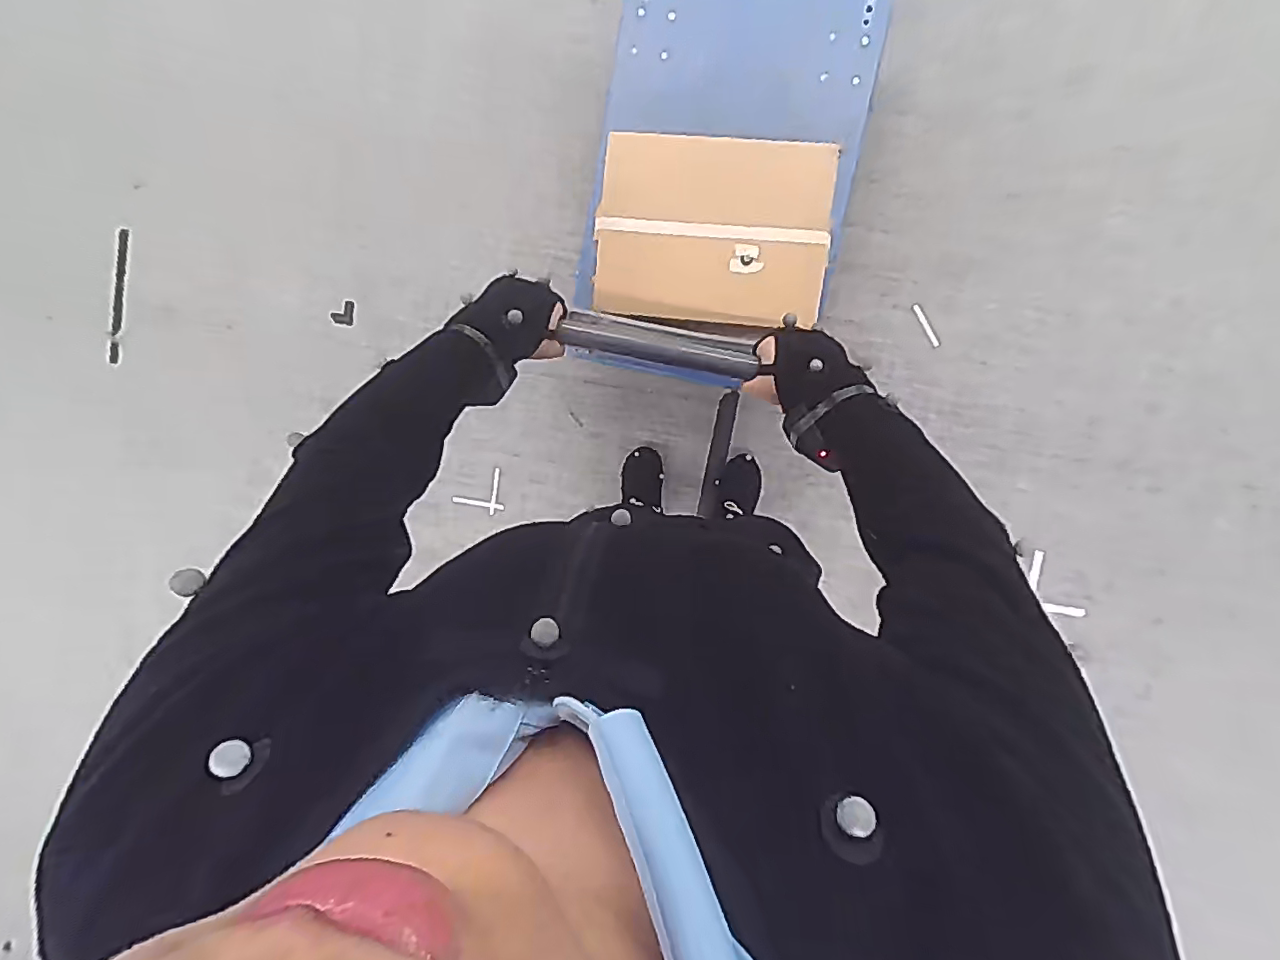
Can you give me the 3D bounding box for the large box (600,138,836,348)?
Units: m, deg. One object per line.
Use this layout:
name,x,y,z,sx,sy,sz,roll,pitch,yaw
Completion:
large box,0.144,-0.459,1.116,0.408,0.320,0.320,6,98,5
